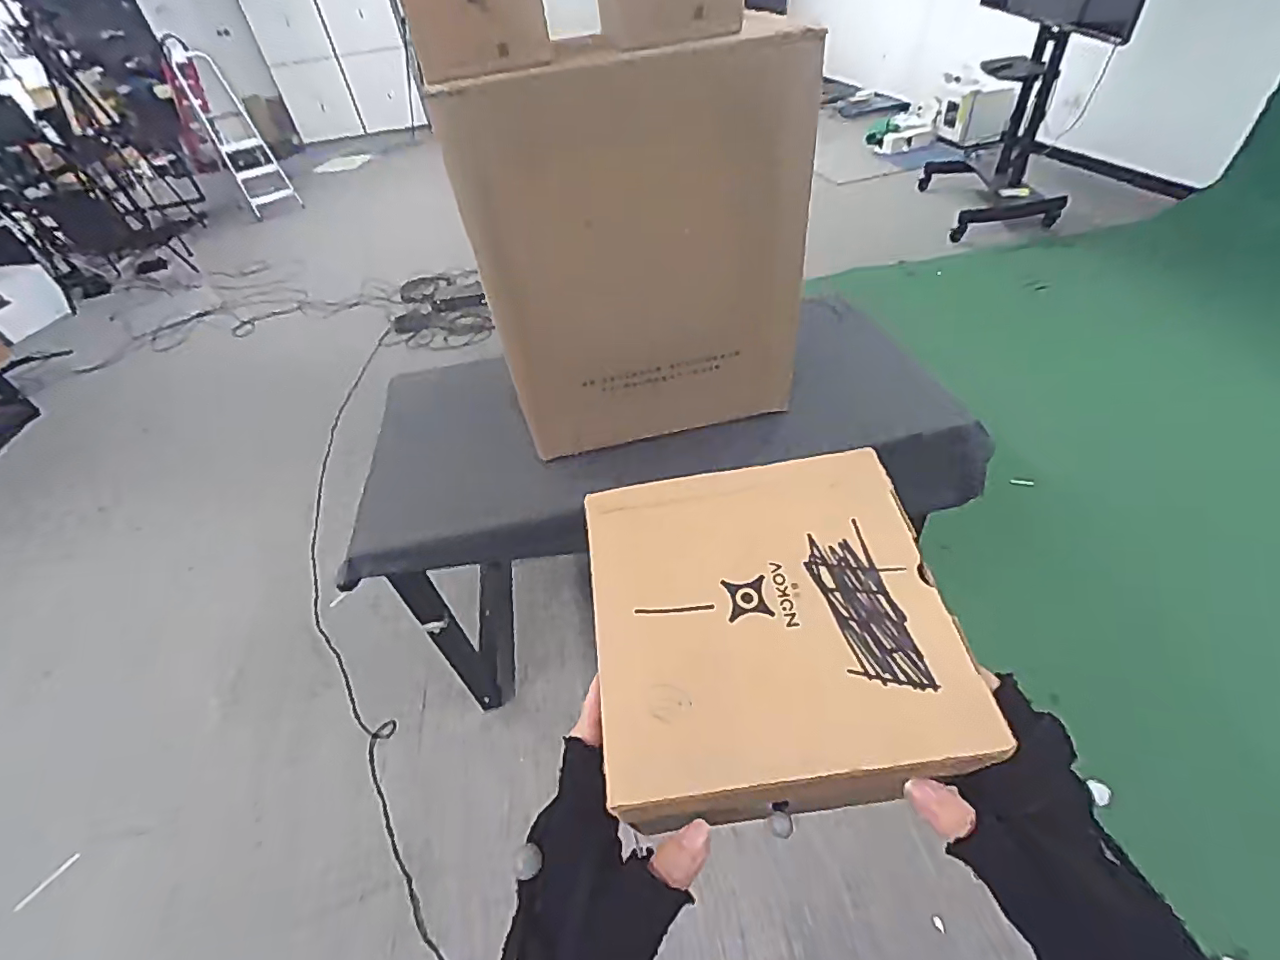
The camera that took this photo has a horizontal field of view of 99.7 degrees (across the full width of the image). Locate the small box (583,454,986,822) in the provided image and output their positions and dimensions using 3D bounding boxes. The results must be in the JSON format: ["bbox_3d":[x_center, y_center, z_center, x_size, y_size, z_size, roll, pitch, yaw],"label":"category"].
[{"bbox_3d":[0.064,0.107,0.343,0.179,0.176,0.168,-8,52,2],"label":"small box"}]

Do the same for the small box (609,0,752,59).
[{"bbox_3d":[0.048,-0.669,0.708,0.168,0.176,0.179,-11,44,-5],"label":"small box"}]

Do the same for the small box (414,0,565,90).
[{"bbox_3d":[-0.196,-0.622,0.694,0.168,0.176,0.179,-12,46,-3],"label":"small box"}]
